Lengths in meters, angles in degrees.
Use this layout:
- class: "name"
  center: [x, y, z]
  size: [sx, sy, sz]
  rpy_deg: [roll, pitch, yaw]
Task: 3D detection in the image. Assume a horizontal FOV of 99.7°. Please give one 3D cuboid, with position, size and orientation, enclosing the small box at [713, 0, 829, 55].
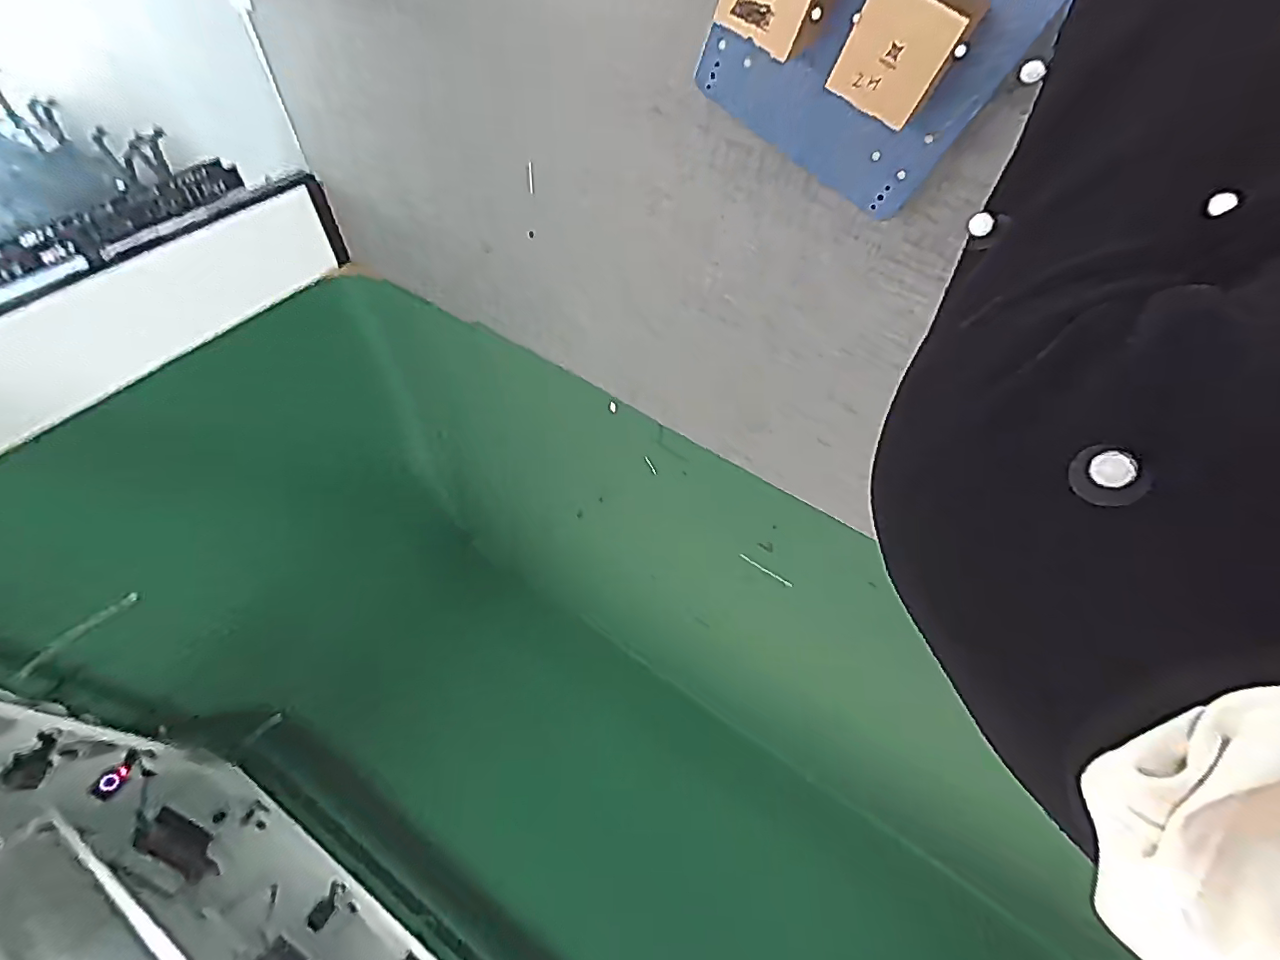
- class: "small box"
  center: [0.267, -0.934, 0.988]
  size: [0.168, 0.176, 0.179]
  rpy_deg: [35, 147, 5]

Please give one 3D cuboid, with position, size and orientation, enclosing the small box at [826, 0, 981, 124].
- class: "small box"
  center: [0.471, -0.789, 0.963]
  size: [0.168, 0.176, 0.179]
  rpy_deg: [36, 148, 6]
